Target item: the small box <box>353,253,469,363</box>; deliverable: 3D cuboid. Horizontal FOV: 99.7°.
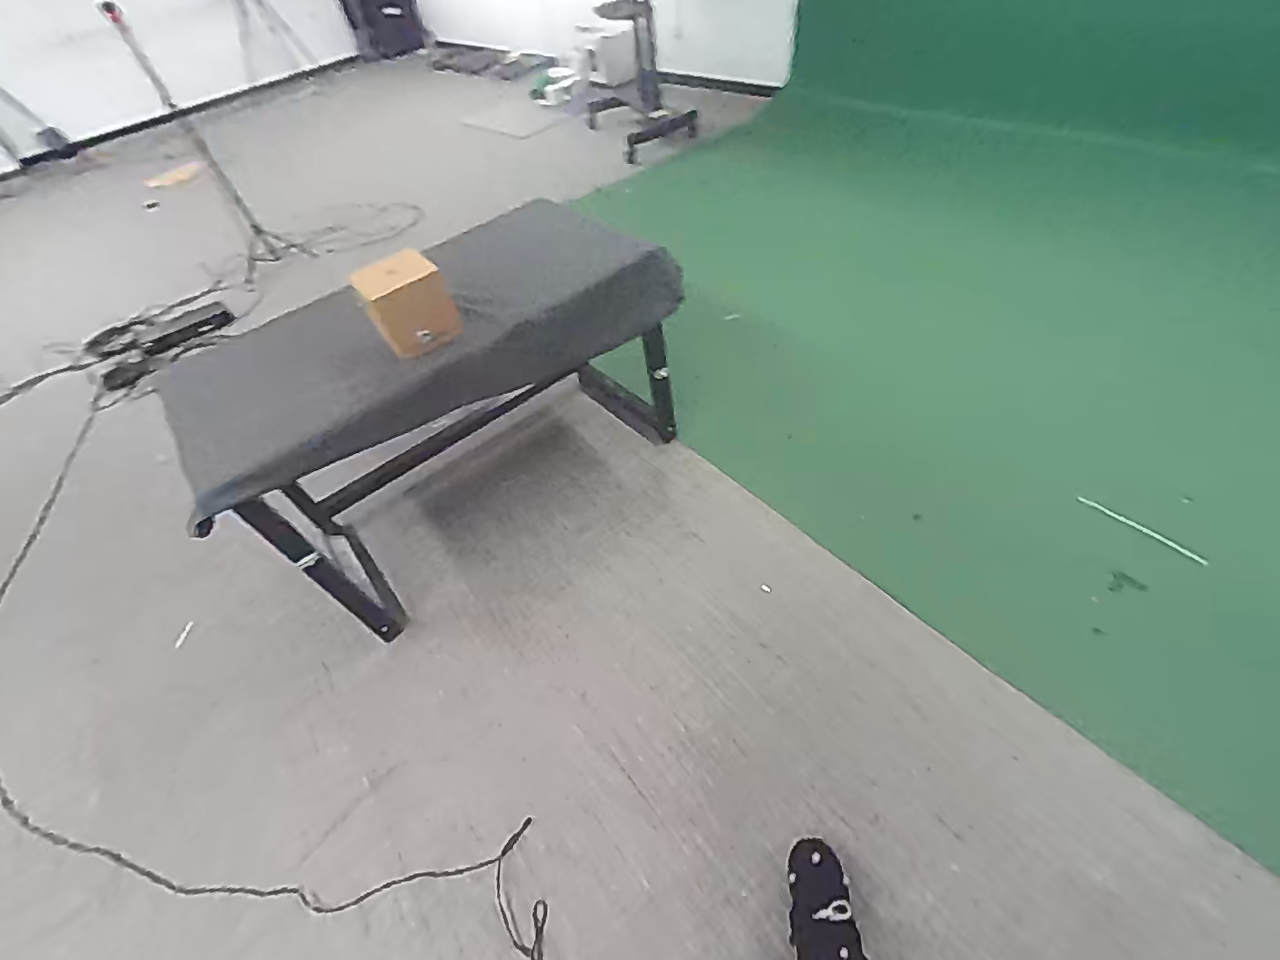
[{"bbox_3d":[-0.541,-0.407,1.290,0.168,0.176,0.179,-36,53,-18],"label":"small box"}]
